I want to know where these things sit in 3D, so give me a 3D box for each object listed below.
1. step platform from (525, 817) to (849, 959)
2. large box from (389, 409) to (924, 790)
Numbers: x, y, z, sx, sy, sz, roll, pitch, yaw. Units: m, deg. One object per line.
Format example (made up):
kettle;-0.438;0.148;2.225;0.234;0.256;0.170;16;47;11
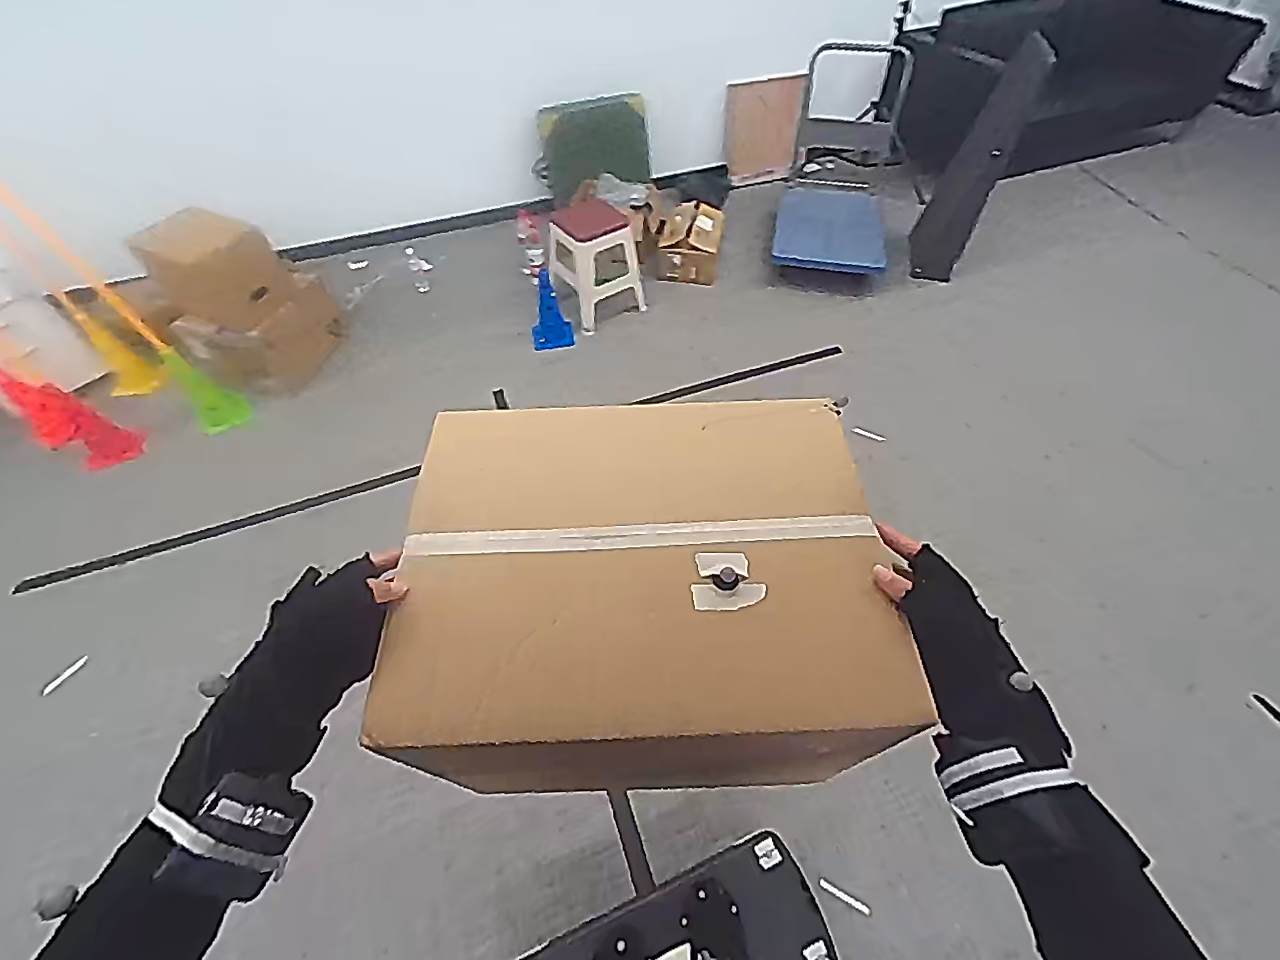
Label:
step platform;0.099;1.030;1.179;0.684;0.204;0.286;-19;53;-14
large box;0.007;0.142;0.600;0.408;0.320;0.320;-2;55;-1
